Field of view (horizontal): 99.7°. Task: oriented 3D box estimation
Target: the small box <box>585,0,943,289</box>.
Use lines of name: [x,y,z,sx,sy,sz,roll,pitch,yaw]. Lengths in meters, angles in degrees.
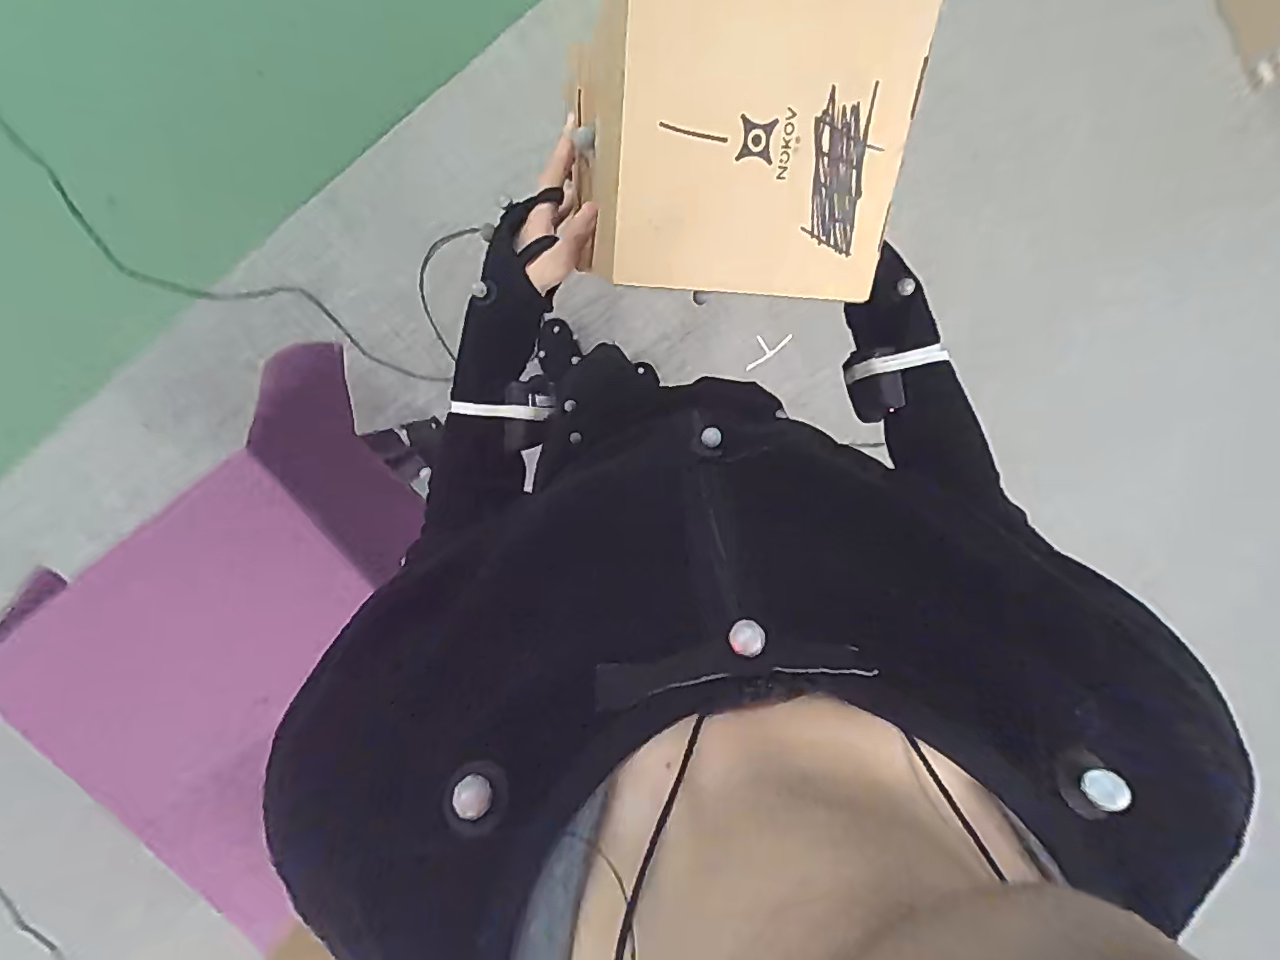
small box: [0.061,-0.236,0.380,0.179,0.176,0.168,2,113,-12]
